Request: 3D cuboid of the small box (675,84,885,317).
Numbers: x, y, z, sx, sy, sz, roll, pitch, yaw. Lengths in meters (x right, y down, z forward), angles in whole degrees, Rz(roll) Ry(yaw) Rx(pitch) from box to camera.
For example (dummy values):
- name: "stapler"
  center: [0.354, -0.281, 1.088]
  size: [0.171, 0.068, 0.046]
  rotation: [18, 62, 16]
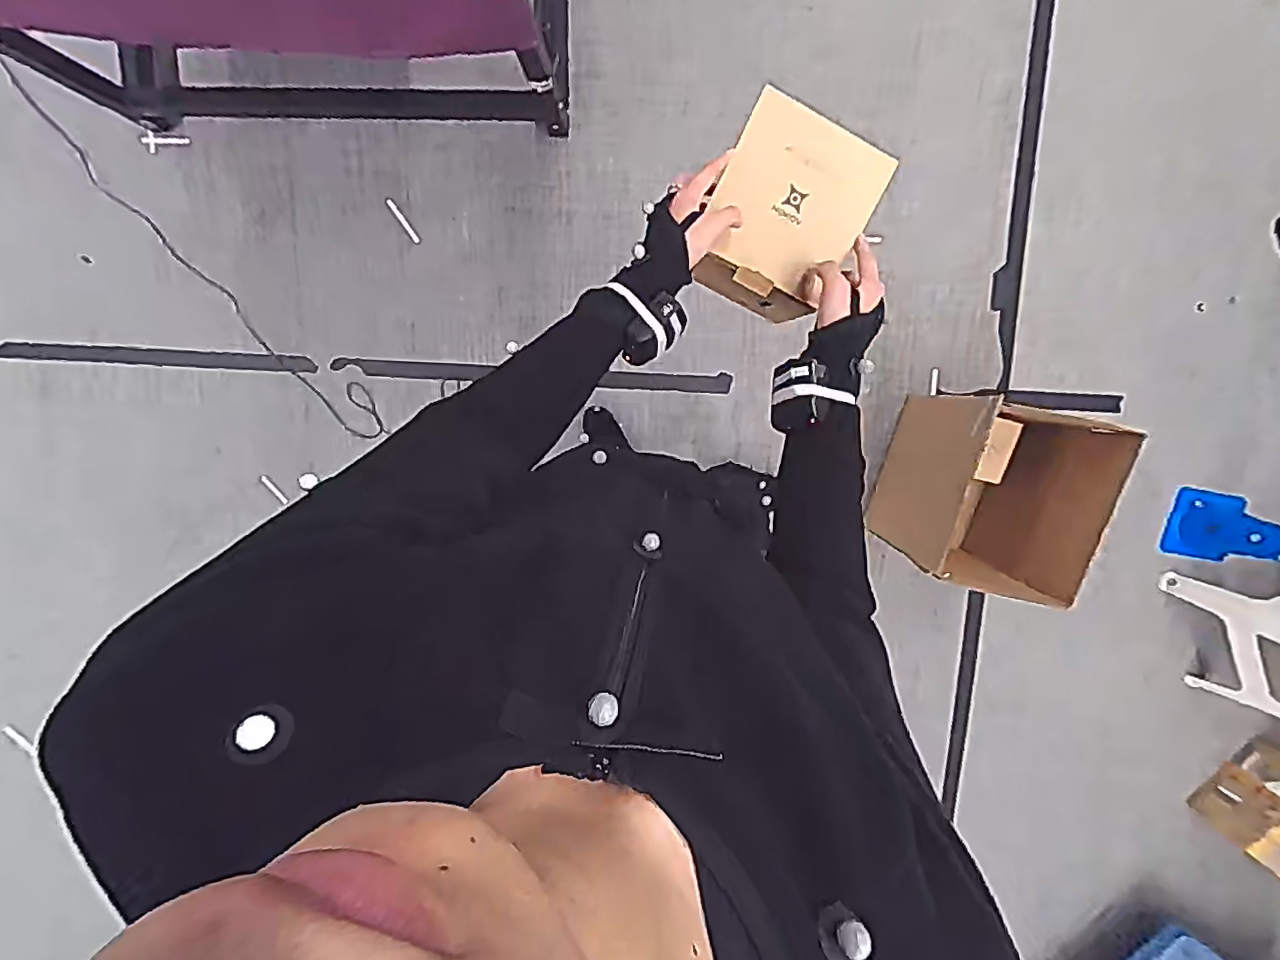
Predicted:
- name: "small box"
  center: [0.152, -0.317, 0.661]
  size: [0.168, 0.176, 0.179]
  rotation: [26, 99, -7]
